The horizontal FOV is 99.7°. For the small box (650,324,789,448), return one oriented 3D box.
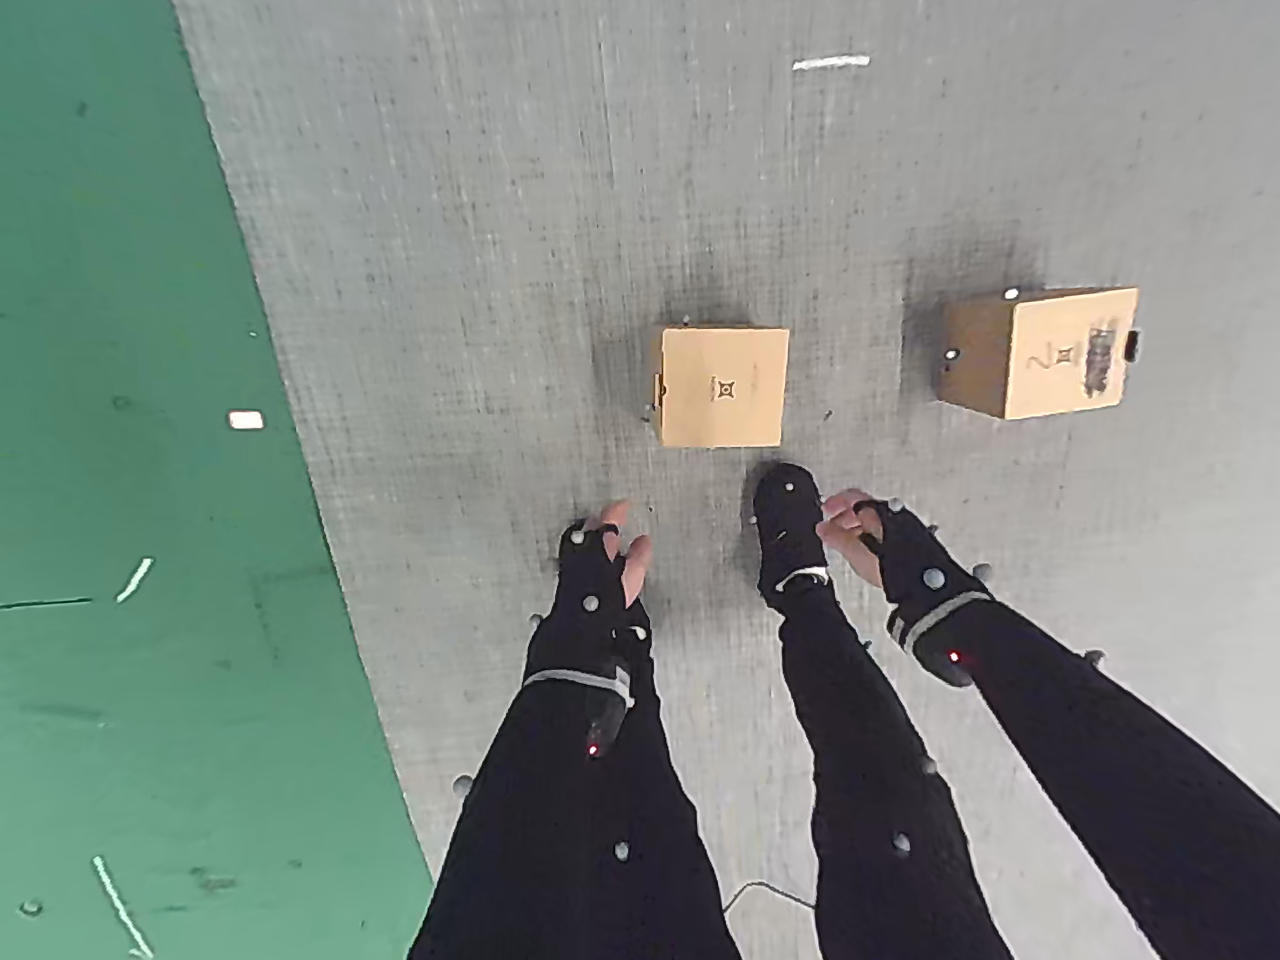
[{"bbox_3d":[0.108,-0.148,0.822,0.179,0.176,0.168,0,108,-4],"label":"small box"}]
